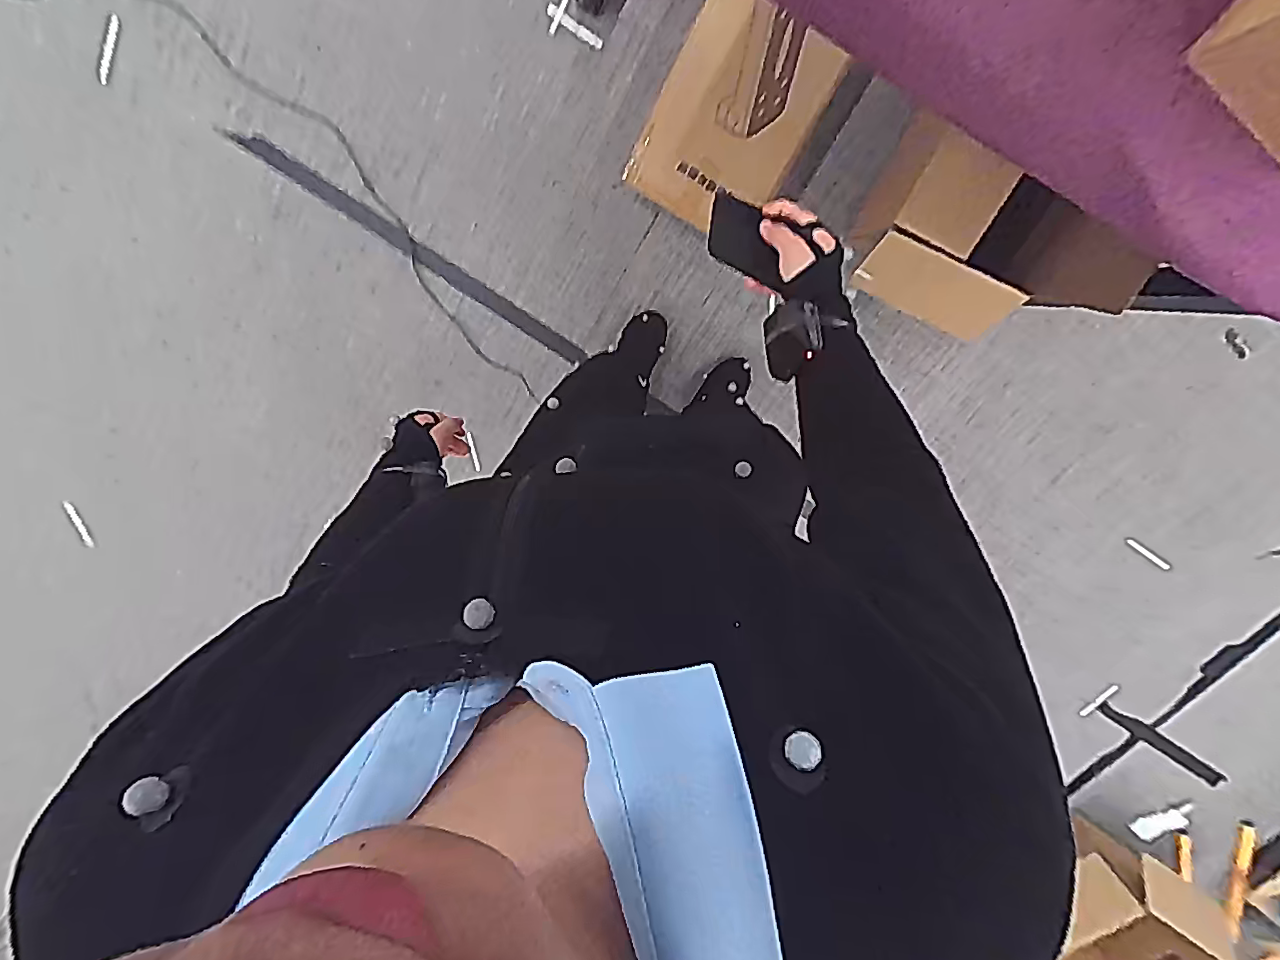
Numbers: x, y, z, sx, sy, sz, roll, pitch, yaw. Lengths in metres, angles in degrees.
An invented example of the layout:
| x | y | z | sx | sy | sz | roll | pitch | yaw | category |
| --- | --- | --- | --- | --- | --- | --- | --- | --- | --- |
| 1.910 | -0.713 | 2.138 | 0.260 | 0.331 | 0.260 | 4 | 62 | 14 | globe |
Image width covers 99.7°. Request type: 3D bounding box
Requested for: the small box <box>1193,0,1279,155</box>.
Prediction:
| x | y | z | sx | sy | sz | roll | pitch | yaw | category |
| --- | --- | --- | --- | --- | --- | --- | --- | --- | --- |
| 0.646 | -0.406 | 0.449 | 0.179 | 0.176 | 0.168 | 36 | 108 | -9 | small box |
